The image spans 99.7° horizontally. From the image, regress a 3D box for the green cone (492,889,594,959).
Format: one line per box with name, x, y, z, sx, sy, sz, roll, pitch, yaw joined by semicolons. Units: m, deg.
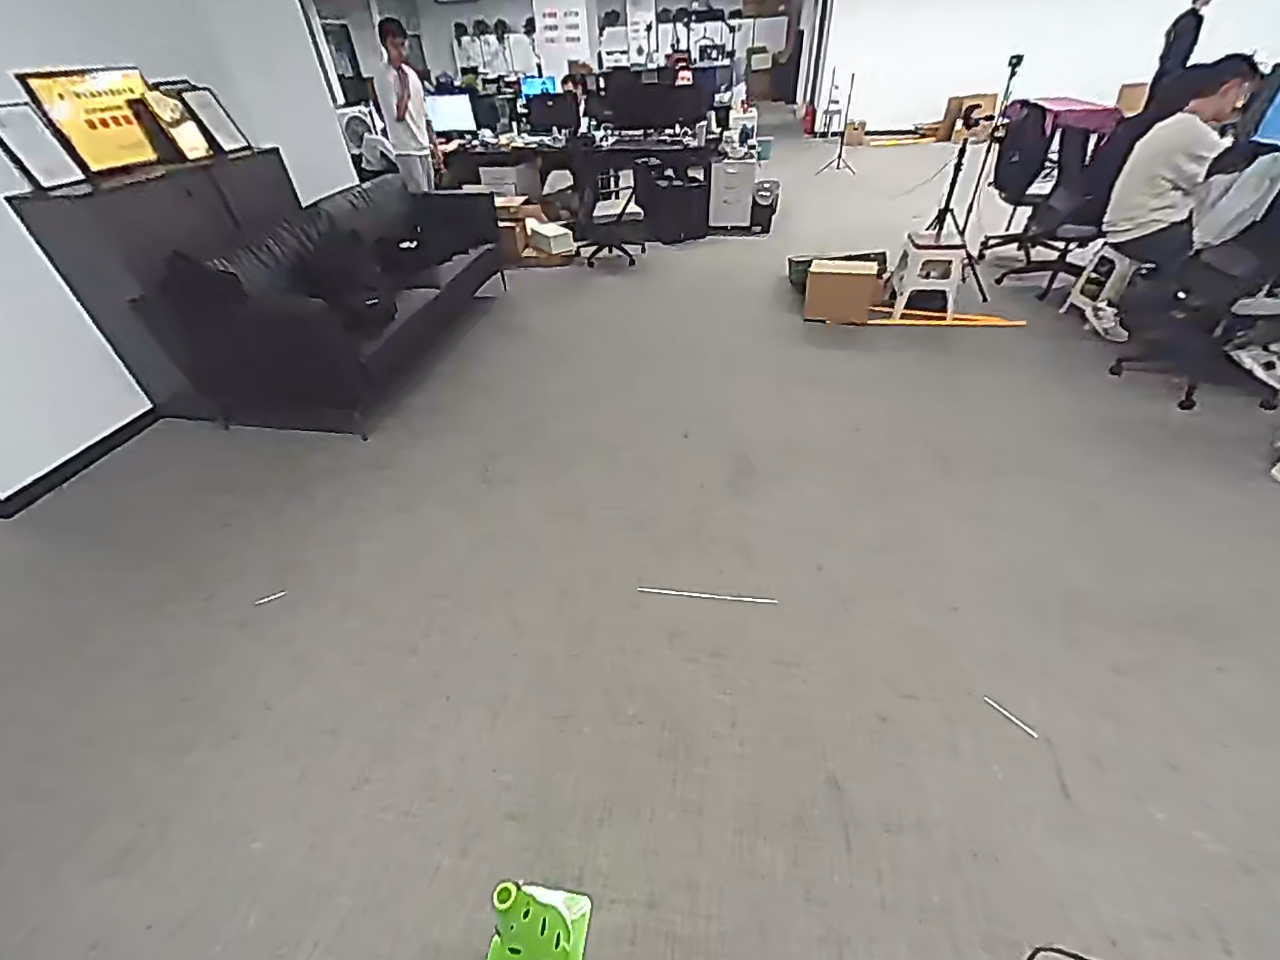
green cone;-0.215;0.867;1.038;0.202;0.368;0.200;4;40;8
